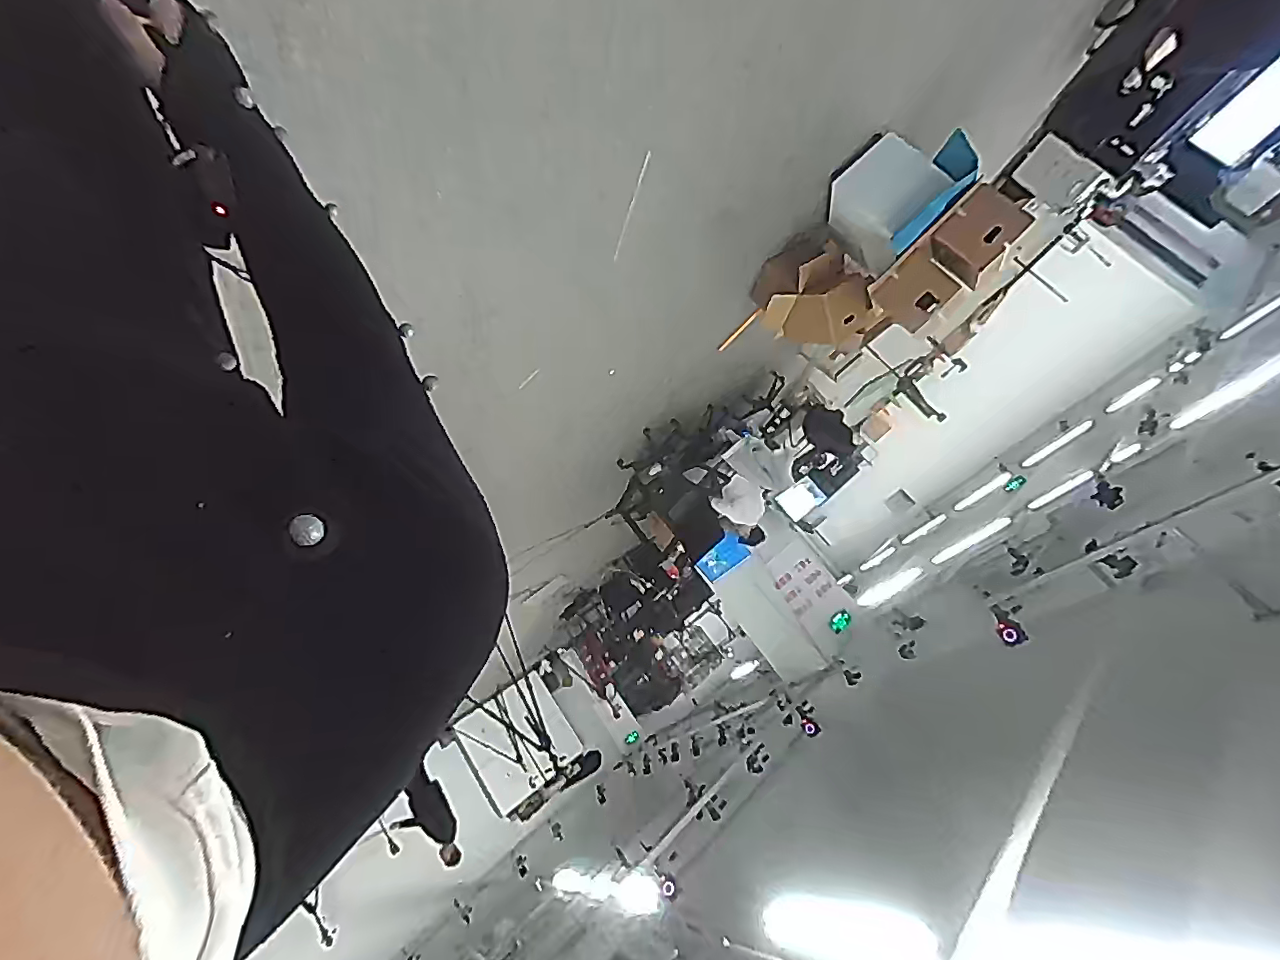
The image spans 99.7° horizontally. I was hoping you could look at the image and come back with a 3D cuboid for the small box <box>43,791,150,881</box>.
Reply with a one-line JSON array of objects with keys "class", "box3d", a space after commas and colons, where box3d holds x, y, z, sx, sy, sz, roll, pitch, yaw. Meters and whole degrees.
[{"class": "small box", "box3d": [-1.682, 1.100, 1.680, 0.168, 0.176, 0.179, -30, 162, -36]}]
